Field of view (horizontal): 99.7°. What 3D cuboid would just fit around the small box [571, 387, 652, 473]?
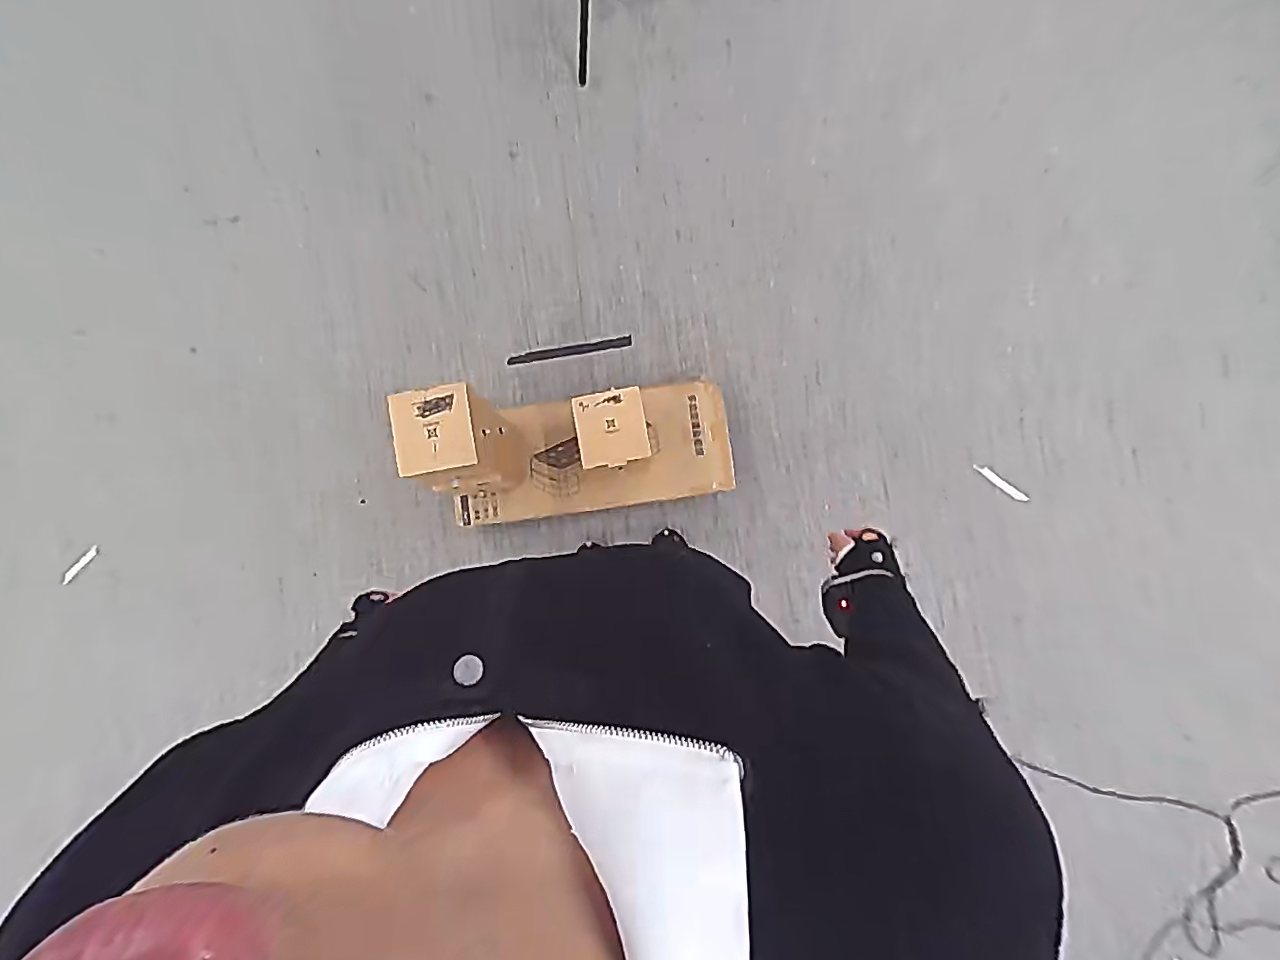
[{"bbox_3d":[-0.065,-0.116,1.345,0.168,0.176,0.179,-10,85,2],"label":"small box"}]

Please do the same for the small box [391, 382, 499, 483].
[{"bbox_3d":[-0.420,-0.097,1.186,0.168,0.176,0.179,-10,84,0],"label":"small box"}]

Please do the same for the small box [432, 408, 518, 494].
[{"bbox_3d":[-0.412,-0.066,1.347,0.168,0.176,0.179,-8,84,1],"label":"small box"}]
